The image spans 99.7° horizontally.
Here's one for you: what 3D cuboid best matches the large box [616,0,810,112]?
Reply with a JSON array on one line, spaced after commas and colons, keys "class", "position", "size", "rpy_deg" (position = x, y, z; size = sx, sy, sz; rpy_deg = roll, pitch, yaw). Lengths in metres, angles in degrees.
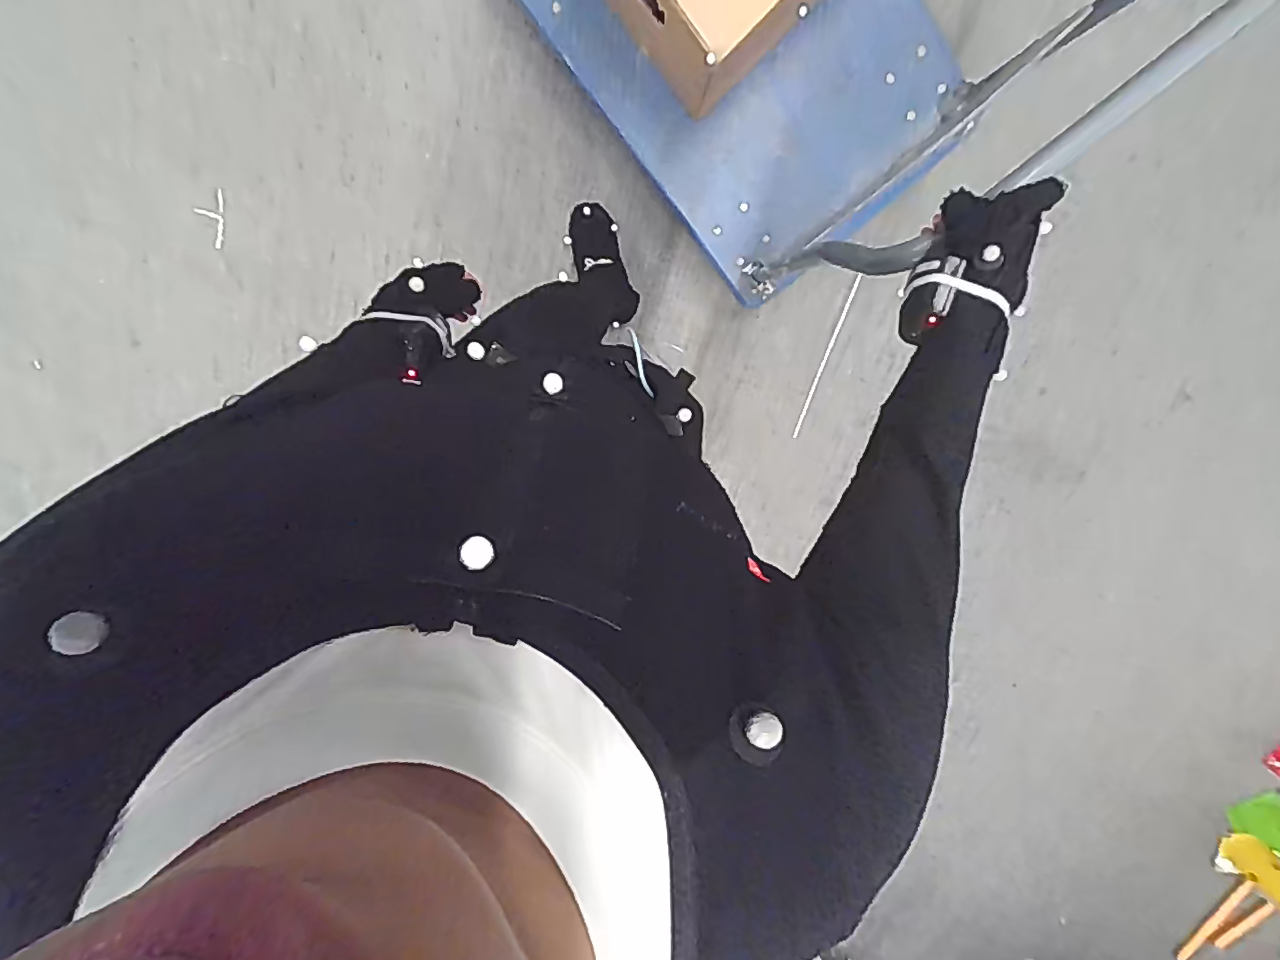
[{"class": "large box", "position": [0.167, -0.903, 0.850], "size": [0.408, 0.320, 0.320], "rpy_deg": [-41, 104, 14]}]
